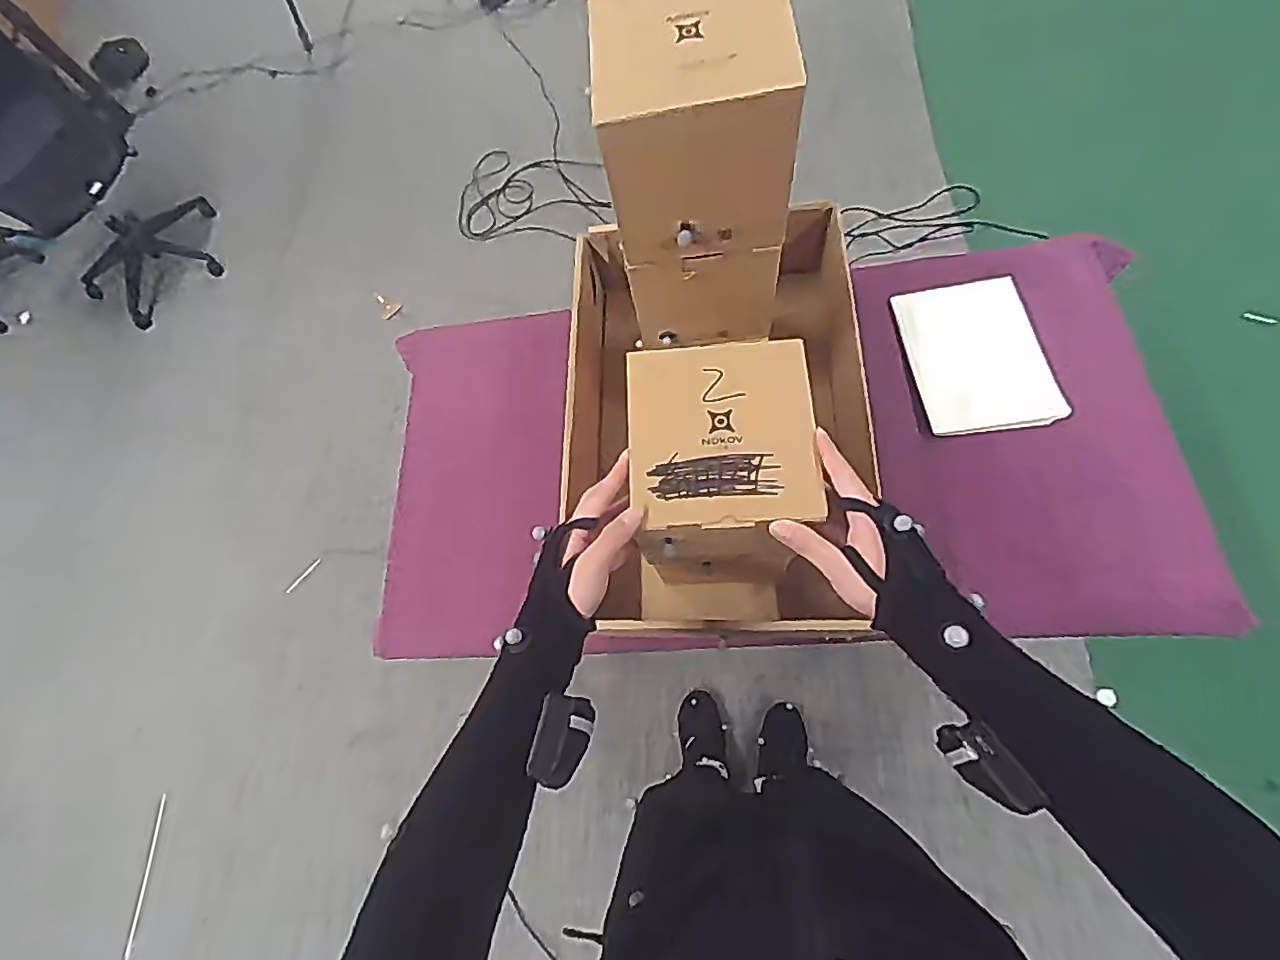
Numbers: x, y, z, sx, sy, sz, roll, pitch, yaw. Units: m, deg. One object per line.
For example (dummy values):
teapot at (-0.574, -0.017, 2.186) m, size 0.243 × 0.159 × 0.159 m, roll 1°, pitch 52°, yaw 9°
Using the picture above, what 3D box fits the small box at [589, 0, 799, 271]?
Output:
small box at (0.049, -0.334, 0.520) m, size 0.168 × 0.176 × 0.179 m, roll -5°, pitch 71°, yaw 7°

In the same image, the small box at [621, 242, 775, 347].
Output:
small box at (0.071, -0.281, 0.672) m, size 0.168 × 0.176 × 0.179 m, roll -5°, pitch 70°, yaw 7°
